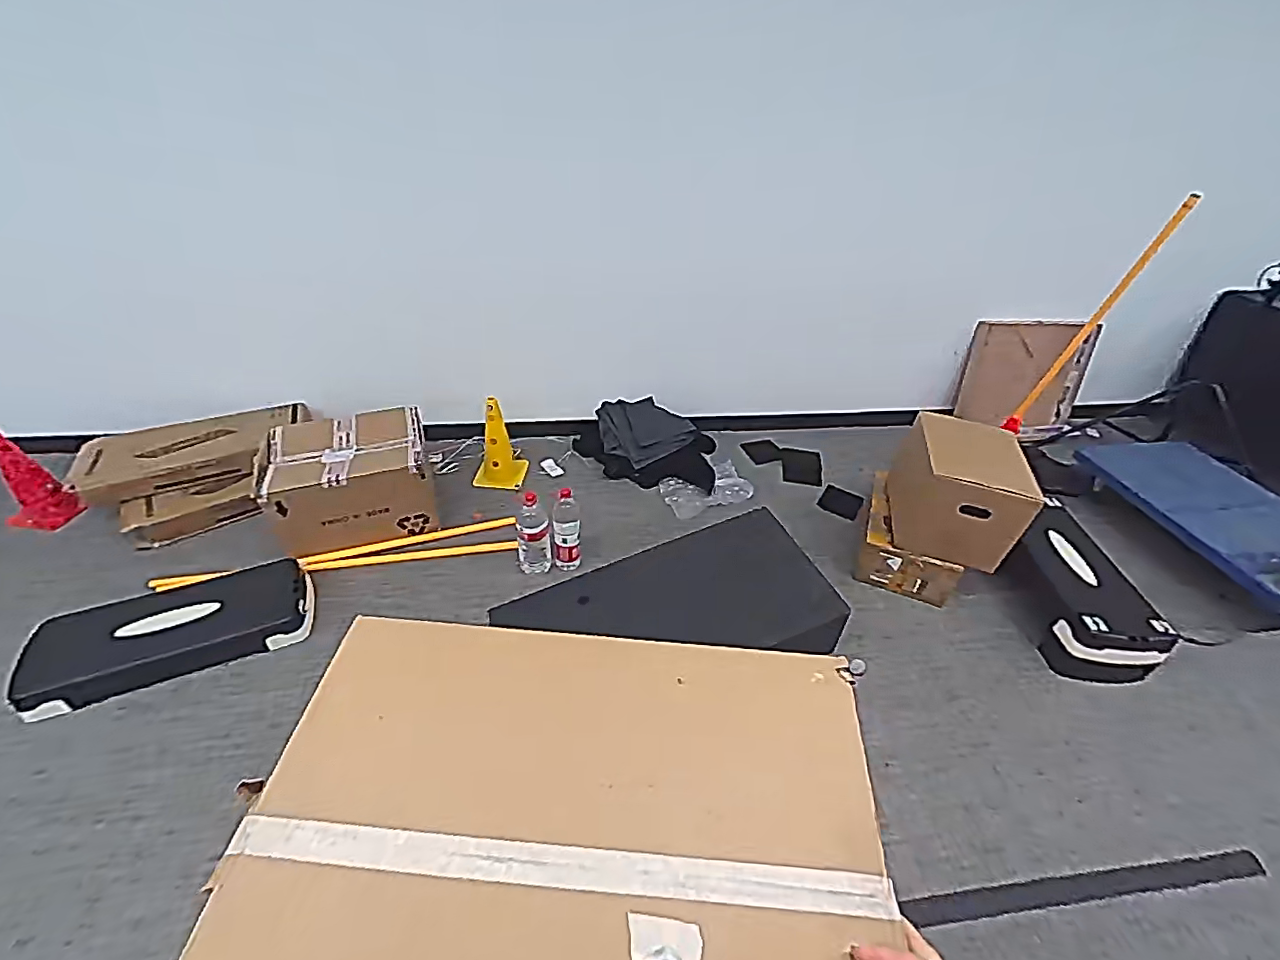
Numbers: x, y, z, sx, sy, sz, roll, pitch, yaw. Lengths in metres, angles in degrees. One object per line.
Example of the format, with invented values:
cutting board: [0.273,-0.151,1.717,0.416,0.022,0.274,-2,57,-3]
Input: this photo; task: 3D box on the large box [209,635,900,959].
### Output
large box: [-0.049,0.355,0.443,0.408,0.320,0.320,5,46,2]
